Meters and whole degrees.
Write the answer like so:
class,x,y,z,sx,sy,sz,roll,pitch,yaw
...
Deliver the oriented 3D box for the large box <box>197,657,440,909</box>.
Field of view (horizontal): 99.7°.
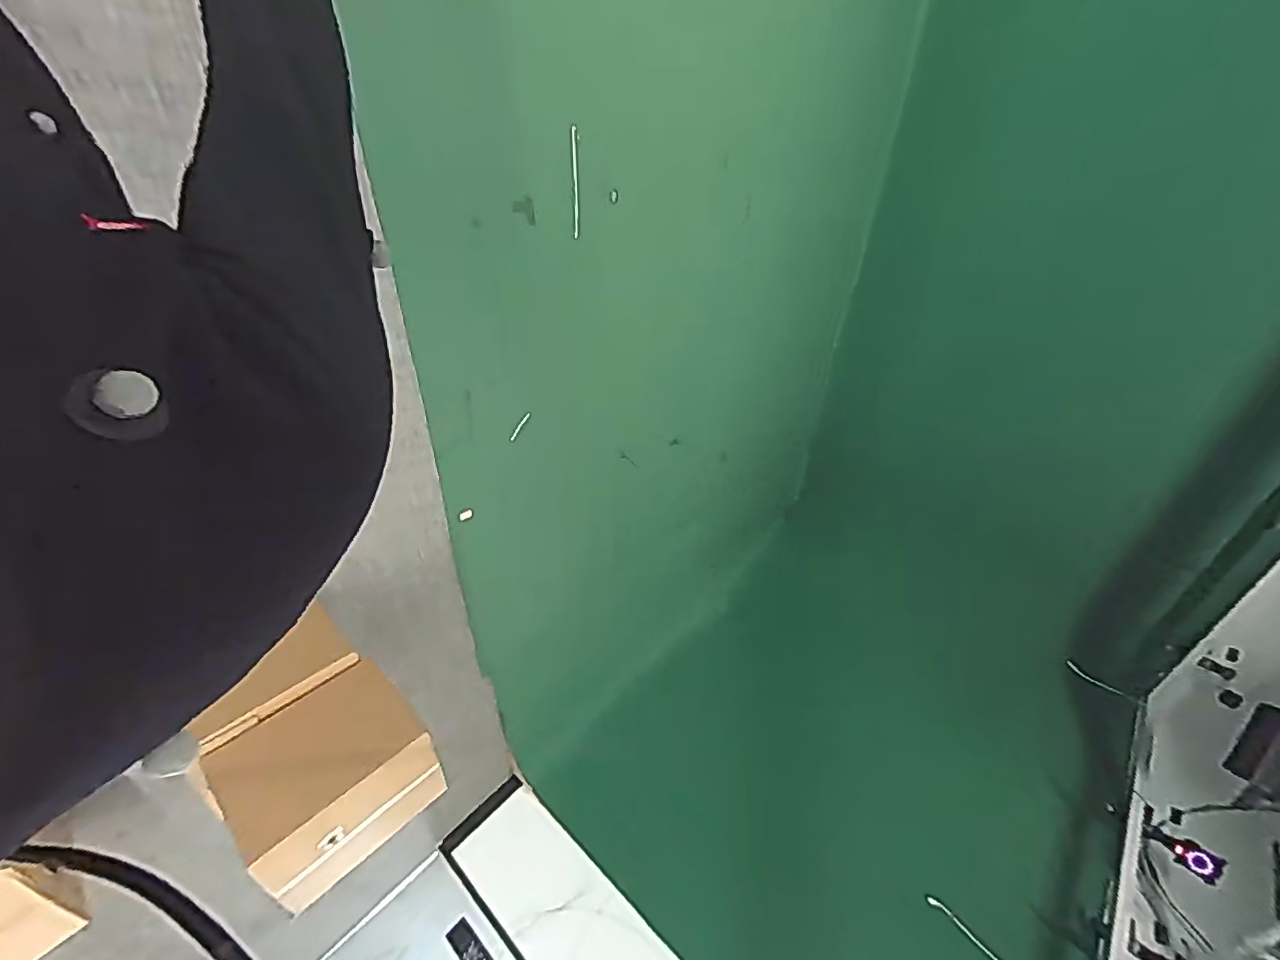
class,x,y,z,sx,sy,sz,roll,pitch,yaw
large box,-0.787,0.741,1.371,0.408,0.320,0.320,-31,140,-38
